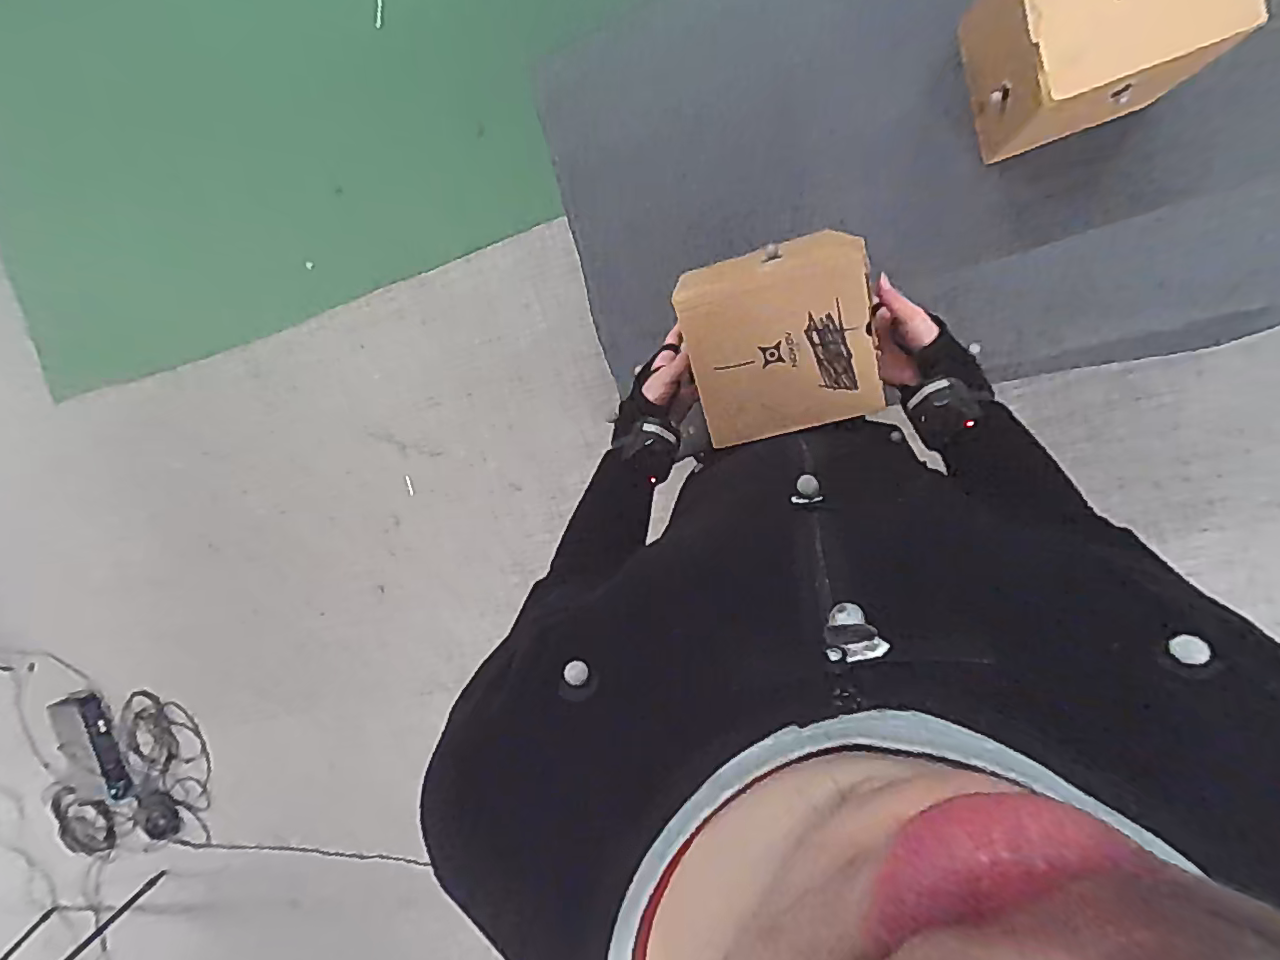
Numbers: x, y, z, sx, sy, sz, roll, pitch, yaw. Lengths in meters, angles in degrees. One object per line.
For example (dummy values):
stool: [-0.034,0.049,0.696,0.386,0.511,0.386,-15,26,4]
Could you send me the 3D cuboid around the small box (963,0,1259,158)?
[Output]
small box: [0.469,-0.479,0.573,0.179,0.176,0.168,-15,99,14]
